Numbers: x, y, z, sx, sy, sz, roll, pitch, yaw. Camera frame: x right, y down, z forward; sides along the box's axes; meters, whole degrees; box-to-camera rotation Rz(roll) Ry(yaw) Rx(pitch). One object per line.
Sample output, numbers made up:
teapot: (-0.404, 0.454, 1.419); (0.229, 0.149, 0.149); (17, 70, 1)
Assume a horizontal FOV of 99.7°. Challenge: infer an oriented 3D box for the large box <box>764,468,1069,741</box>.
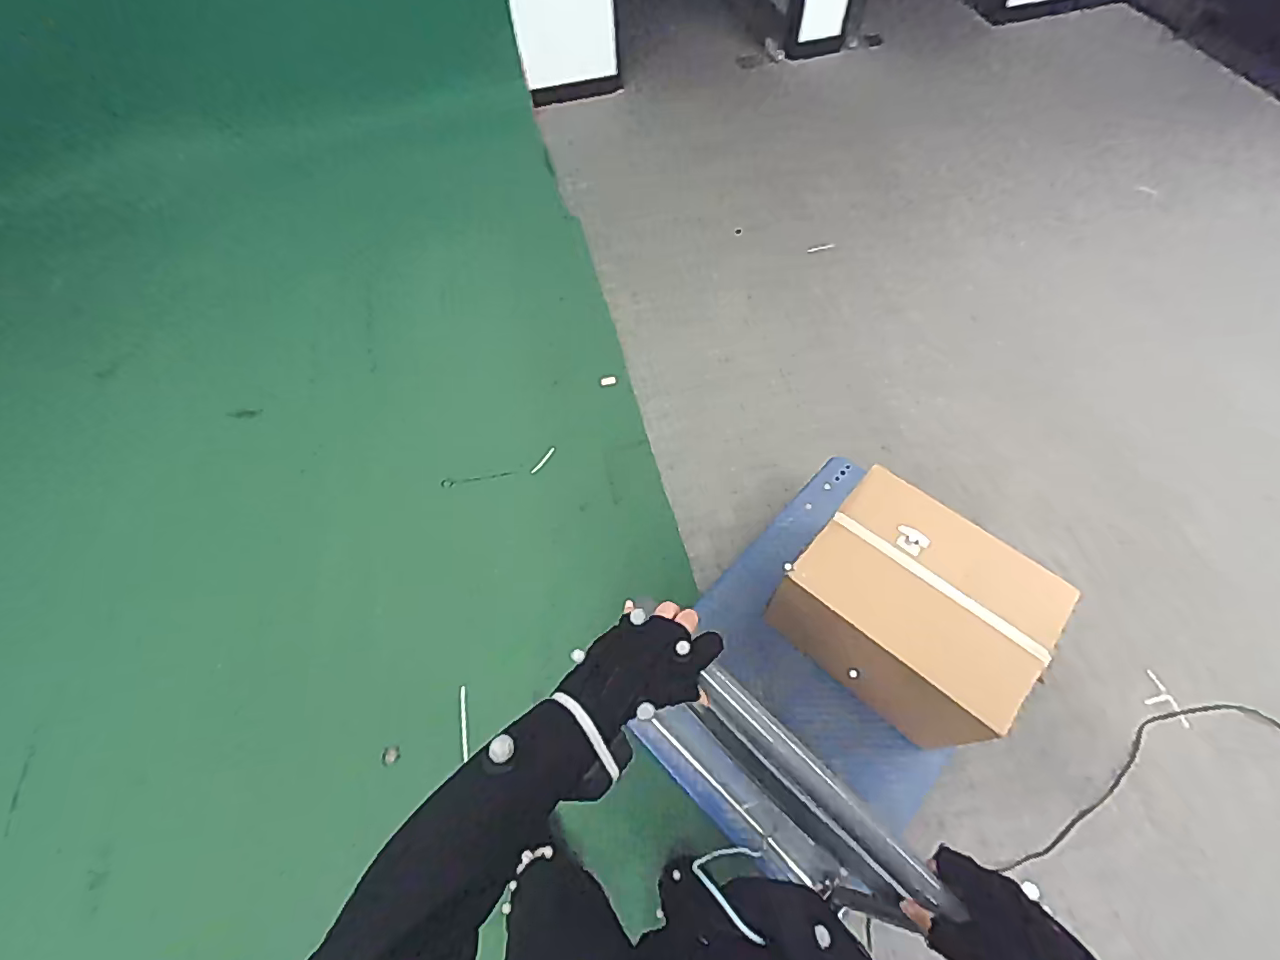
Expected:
large box: (0.519, 0.257, 1.096); (0.408, 0.320, 0.320); (36, 67, 22)
